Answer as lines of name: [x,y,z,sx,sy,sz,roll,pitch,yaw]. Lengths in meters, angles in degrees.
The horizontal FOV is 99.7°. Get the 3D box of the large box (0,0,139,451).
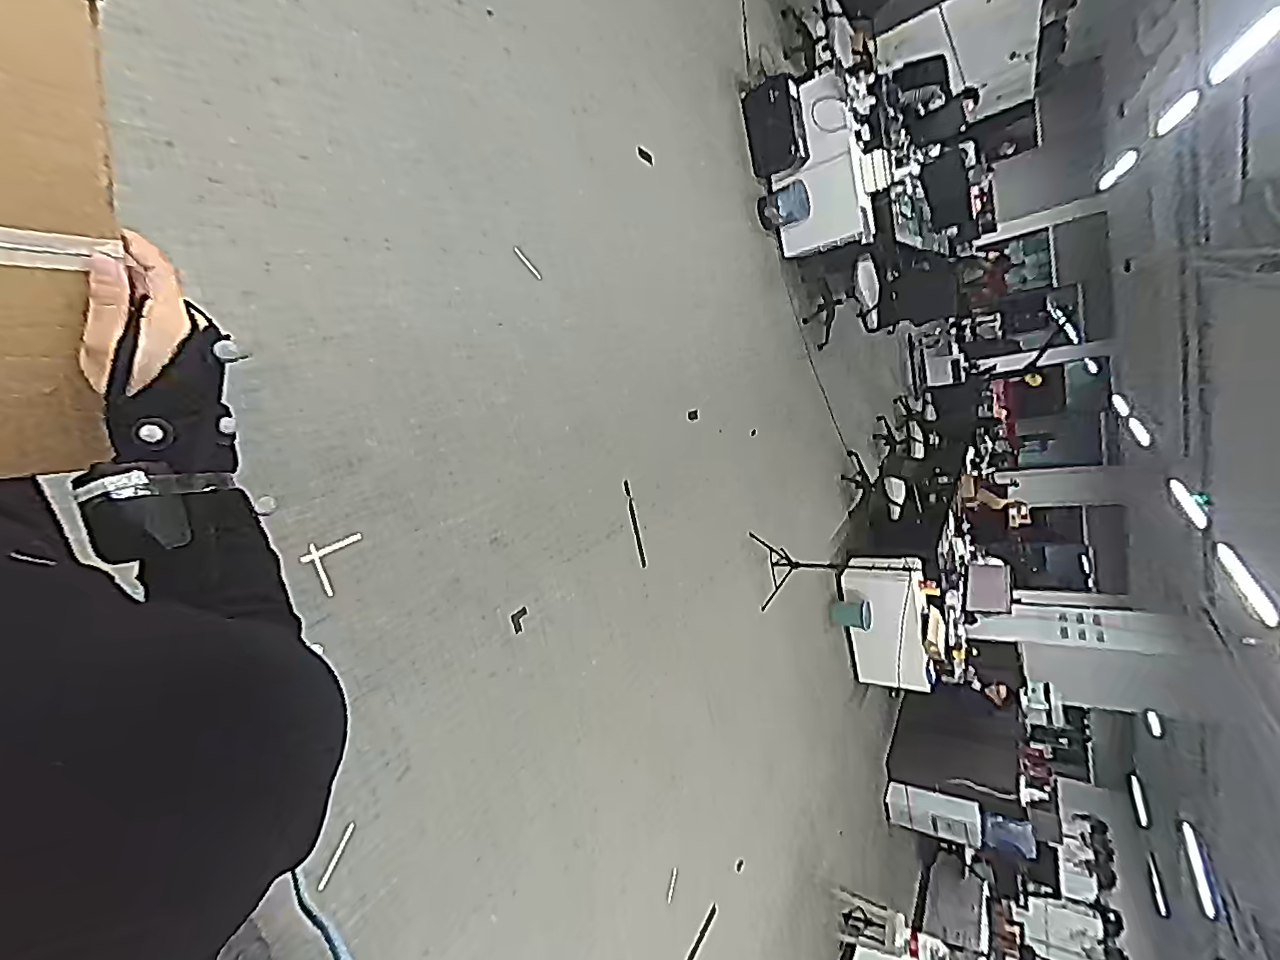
large box: [-0.576,-0.200,0.271,0.408,0.320,0.320,-16,136,-50]
